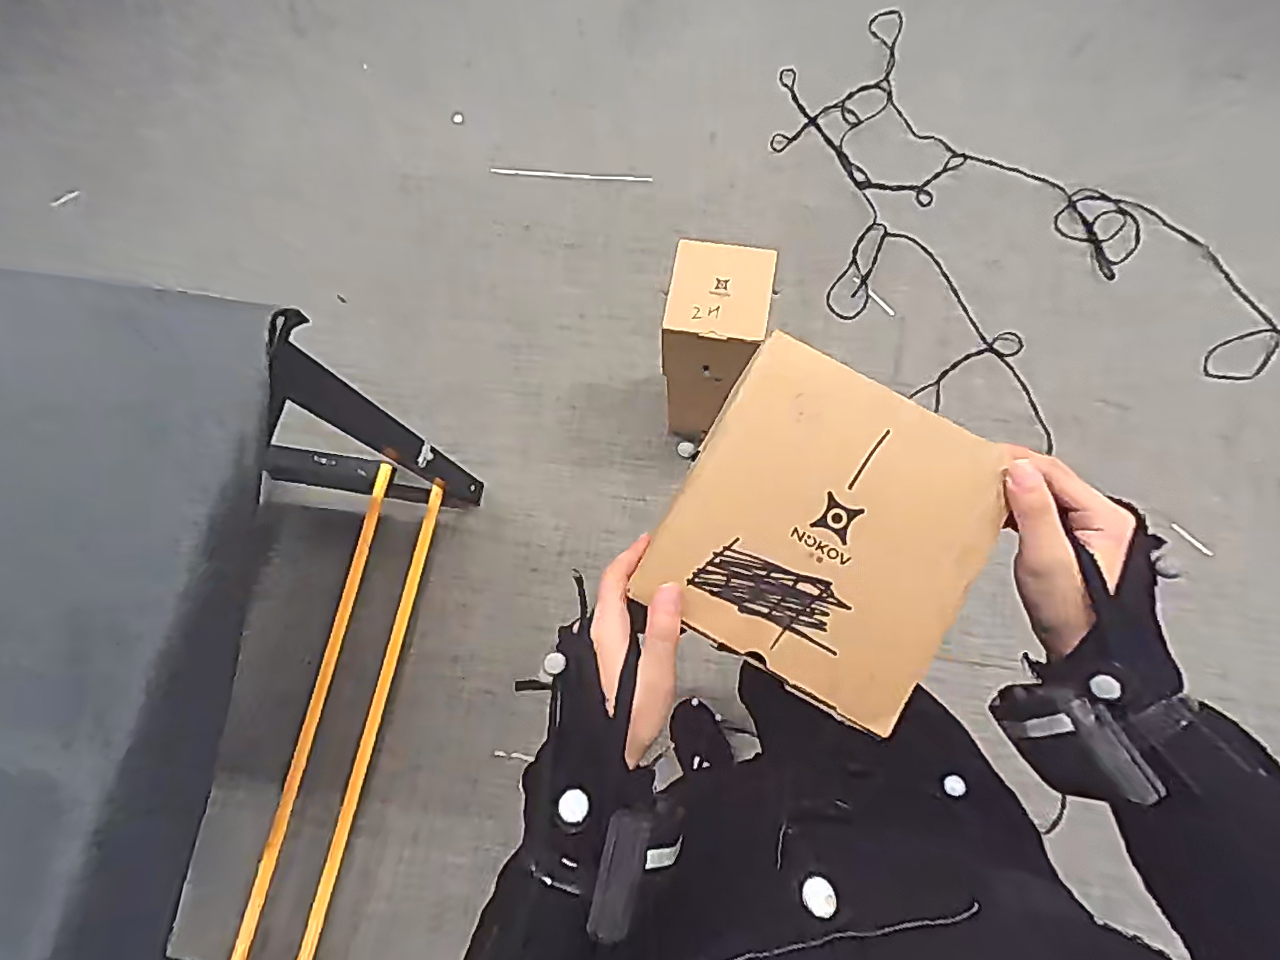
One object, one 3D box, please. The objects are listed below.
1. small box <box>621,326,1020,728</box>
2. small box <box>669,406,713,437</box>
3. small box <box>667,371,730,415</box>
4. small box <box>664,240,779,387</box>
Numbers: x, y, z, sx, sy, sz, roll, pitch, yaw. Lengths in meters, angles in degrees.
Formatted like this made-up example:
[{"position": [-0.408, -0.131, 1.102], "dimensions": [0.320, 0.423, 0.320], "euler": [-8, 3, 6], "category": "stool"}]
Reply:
[{"position": [0.105, 0.028, 0.384], "dimensions": [0.168, 0.176, 0.179], "euler": [30, 88, 3], "category": "small box"}, {"position": [0.169, -0.200, 1.267], "dimensions": [0.179, 0.176, 0.168], "euler": [11, 75, 6], "category": "small box"}, {"position": [0.155, -0.240, 1.109], "dimensions": [0.179, 0.176, 0.168], "euler": [8, 74, 7], "category": "small box"}, {"position": [0.137, -0.285, 0.951], "dimensions": [0.168, 0.176, 0.179], "euler": [9, 75, 6], "category": "small box"}]
